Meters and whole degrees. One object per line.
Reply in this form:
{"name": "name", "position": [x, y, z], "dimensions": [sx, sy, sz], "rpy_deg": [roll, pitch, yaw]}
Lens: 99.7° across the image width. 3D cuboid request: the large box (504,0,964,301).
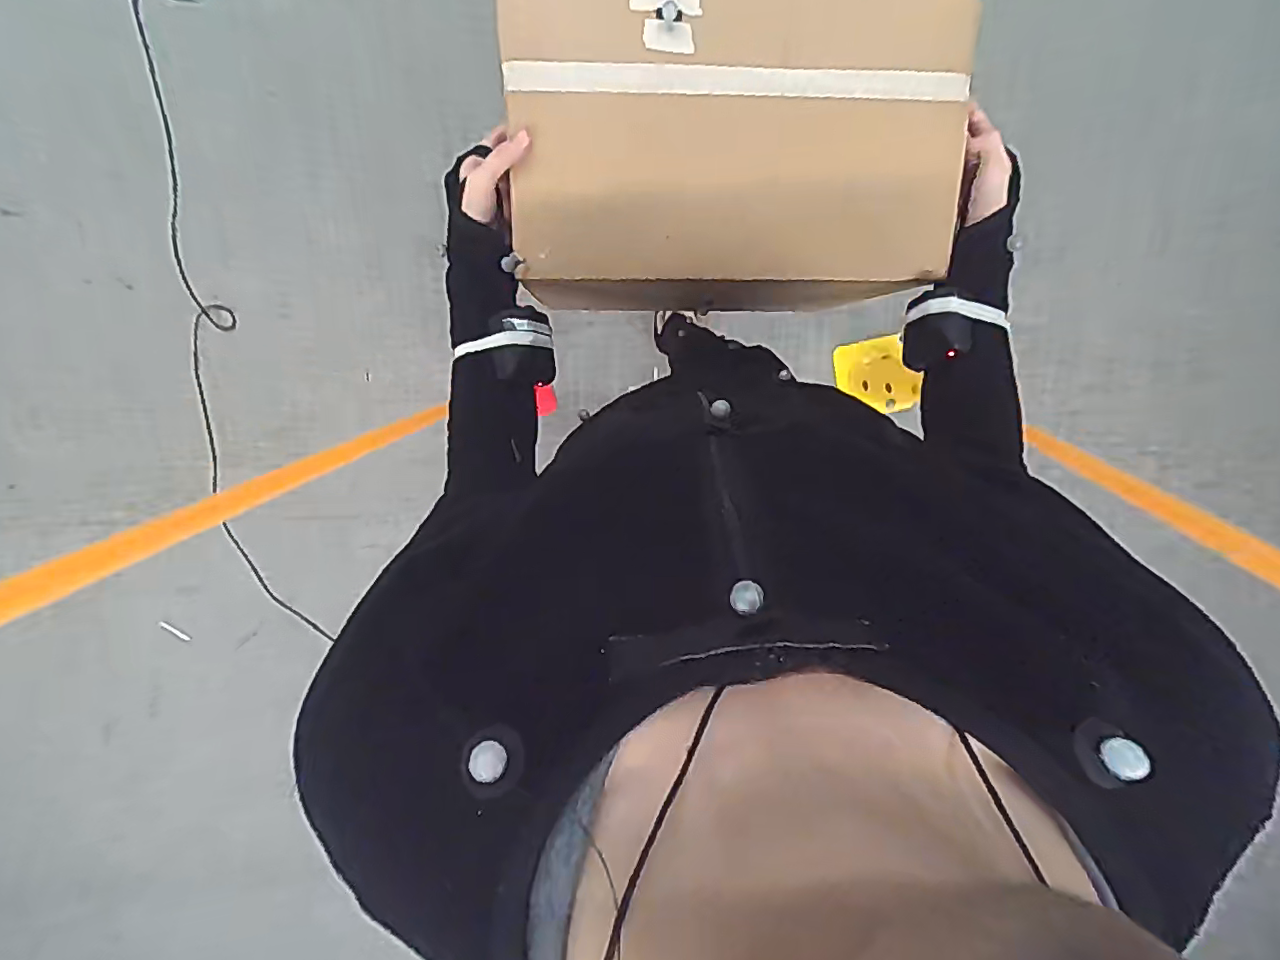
{"name": "large box", "position": [0.078, -0.380, 0.620], "dimensions": [0.408, 0.320, 0.320], "rpy_deg": [-1, 102, -3]}
